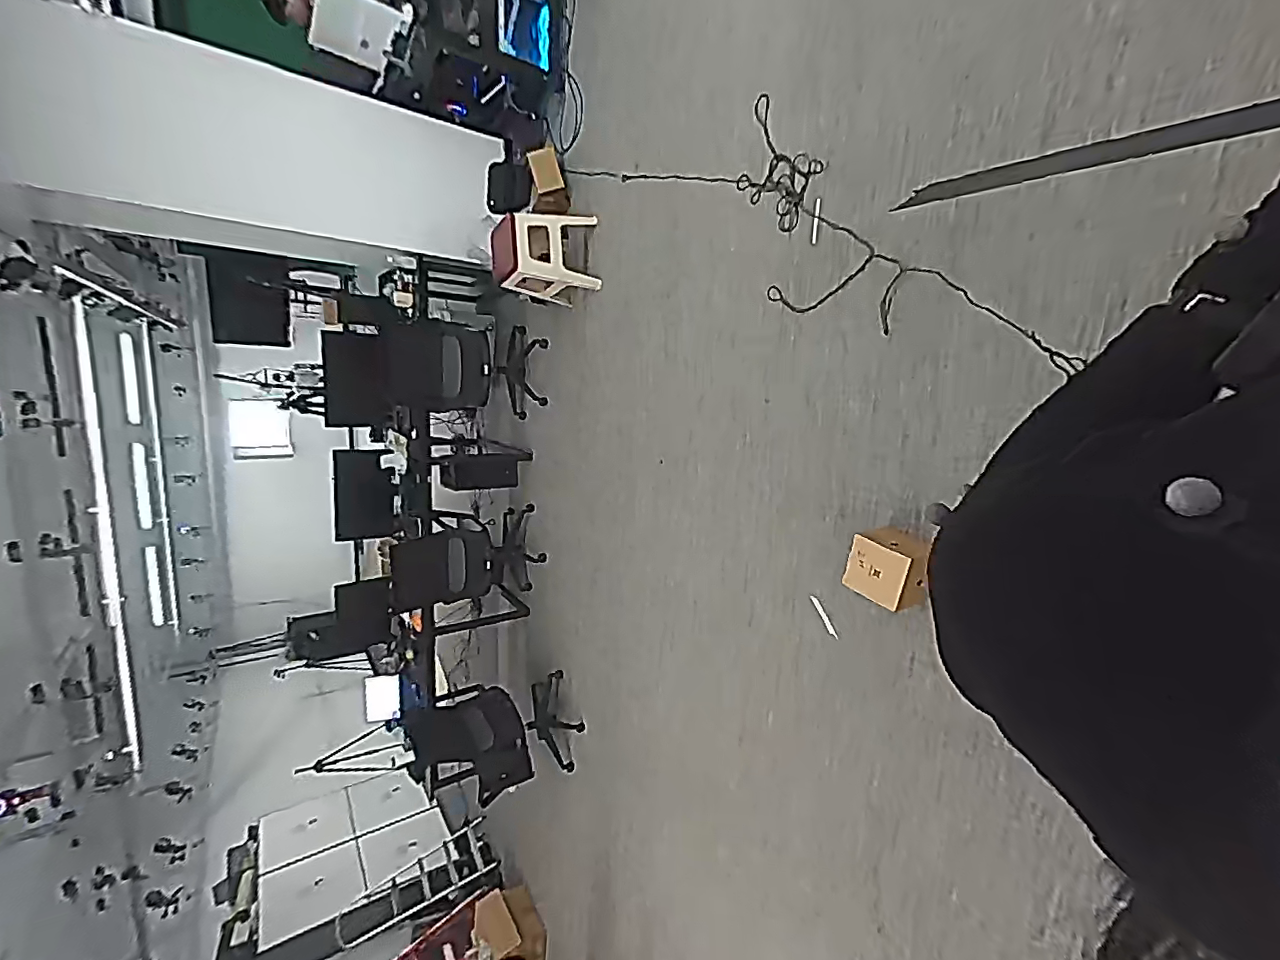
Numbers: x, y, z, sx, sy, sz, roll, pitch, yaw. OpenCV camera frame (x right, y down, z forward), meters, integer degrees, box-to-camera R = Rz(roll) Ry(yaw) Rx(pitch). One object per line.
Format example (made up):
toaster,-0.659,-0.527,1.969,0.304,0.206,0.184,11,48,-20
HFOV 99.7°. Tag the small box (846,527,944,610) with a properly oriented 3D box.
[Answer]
small box,0.731,0.244,1.549,0.179,0.176,0.168,31,118,50
